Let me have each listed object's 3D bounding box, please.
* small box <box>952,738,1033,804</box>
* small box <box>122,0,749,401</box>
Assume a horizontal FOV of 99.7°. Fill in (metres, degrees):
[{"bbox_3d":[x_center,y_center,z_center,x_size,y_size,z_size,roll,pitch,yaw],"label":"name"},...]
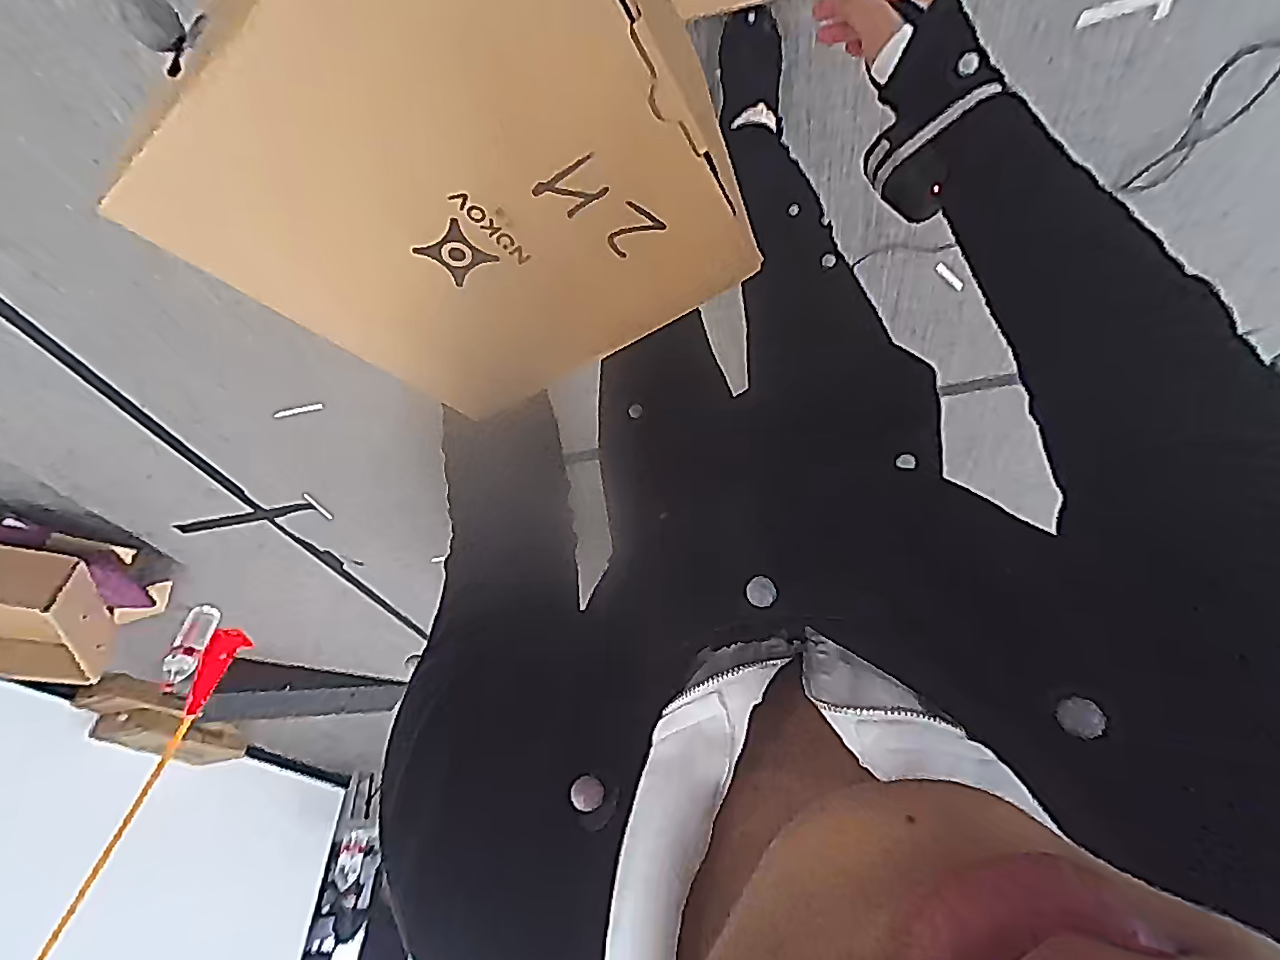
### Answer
[{"bbox_3d":[1.205,1.001,1.866,0.168,0.176,0.179,-11,140,10],"label":"small box"},{"bbox_3d":[-0.074,-0.171,0.248,0.179,0.176,0.168,-22,150,25],"label":"small box"}]
